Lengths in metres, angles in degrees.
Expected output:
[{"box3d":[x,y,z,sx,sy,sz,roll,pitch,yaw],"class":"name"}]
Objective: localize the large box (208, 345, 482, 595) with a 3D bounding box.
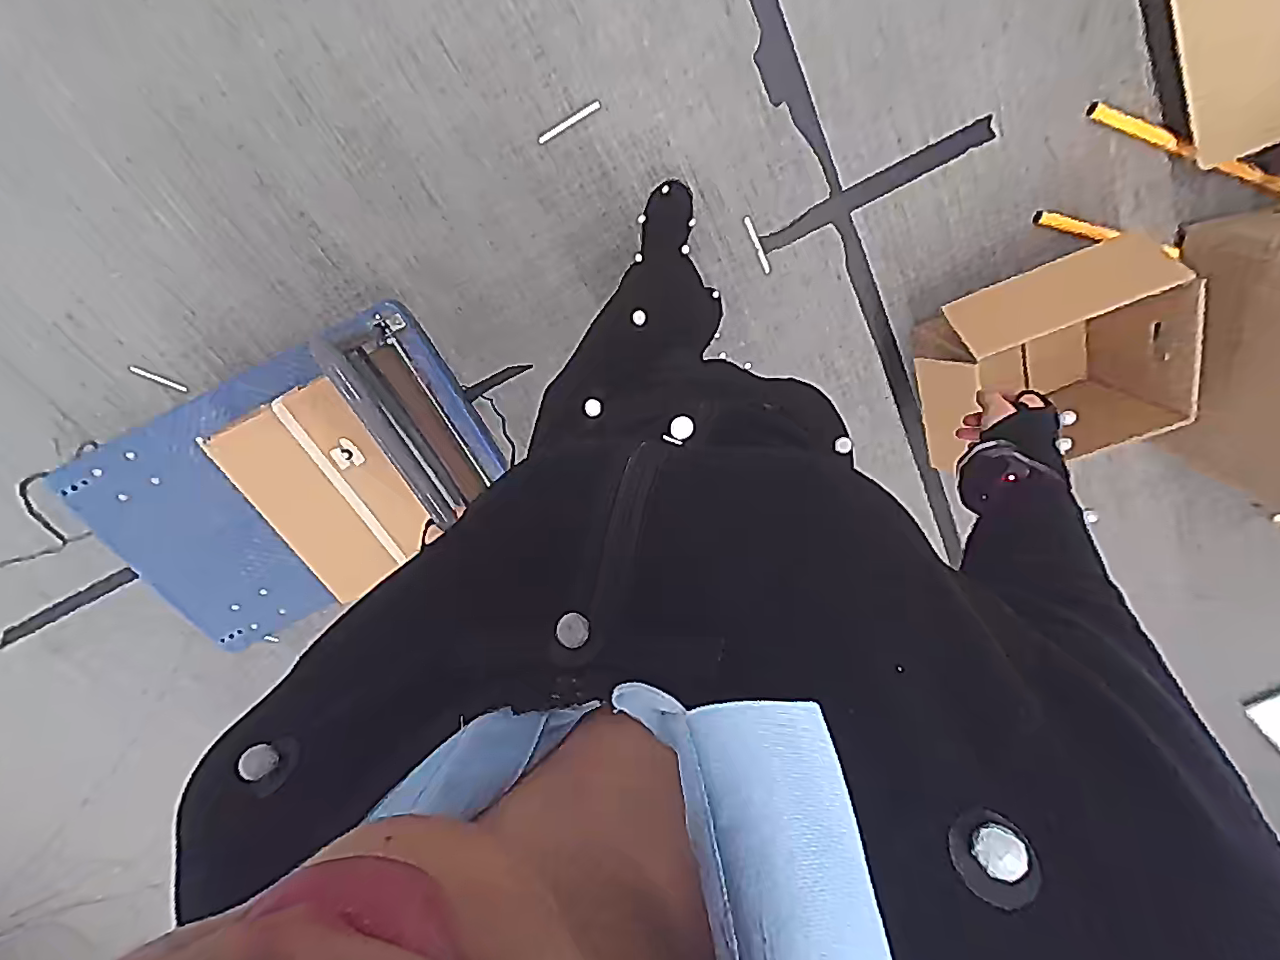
[{"box3d":[-0.594,-0.036,1.192,0.320,0.320,0.408,-29,114,-3],"class":"large box"}]
